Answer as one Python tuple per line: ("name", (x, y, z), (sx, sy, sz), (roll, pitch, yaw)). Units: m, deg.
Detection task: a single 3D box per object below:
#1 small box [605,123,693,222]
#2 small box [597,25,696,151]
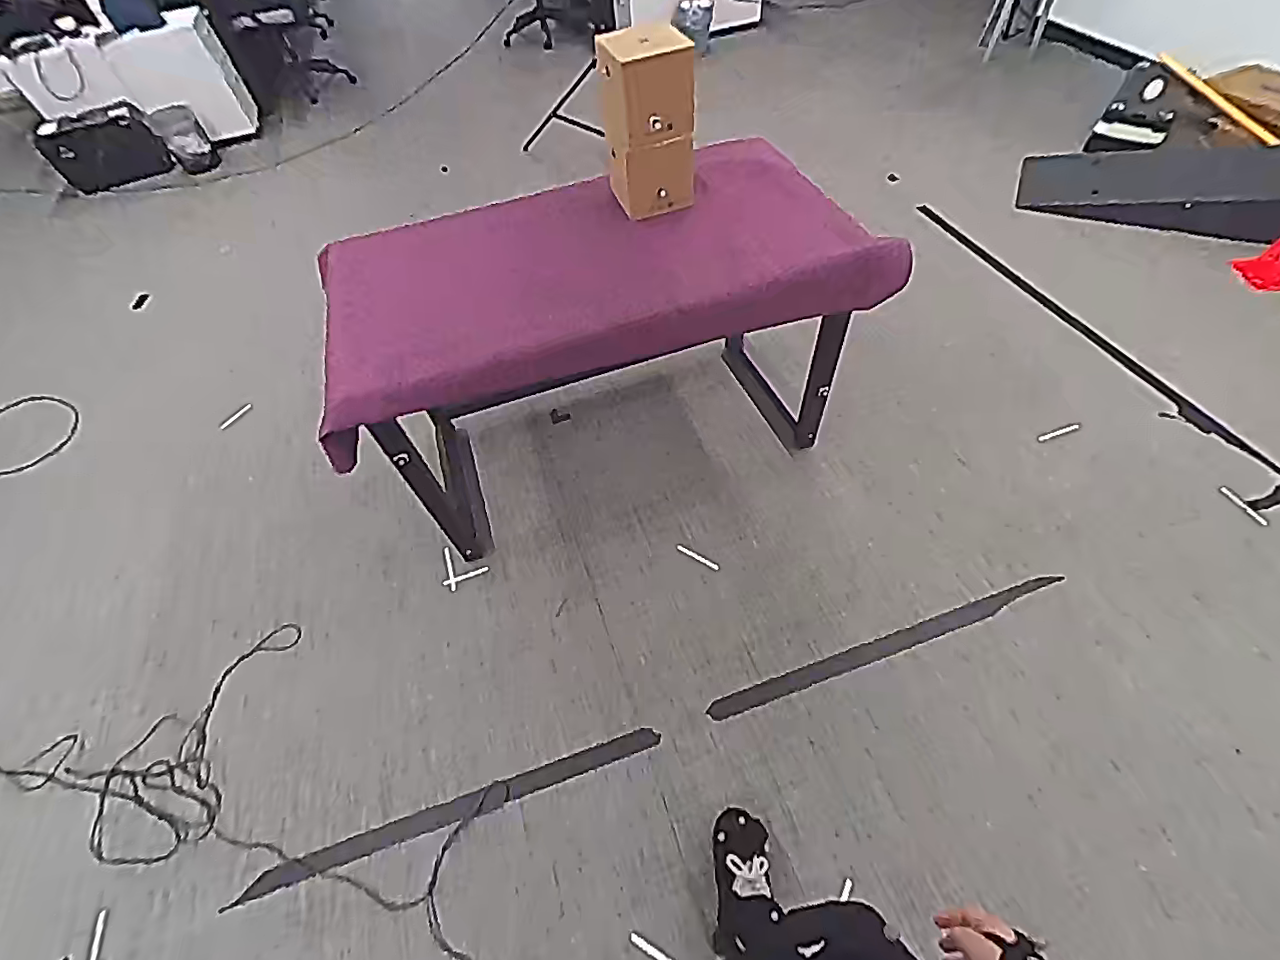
("small box", (0.022, -0.773, 1.335), (0.168, 0.176, 0.179), (-18, 57, -7))
("small box", (0.014, -0.870, 1.206), (0.168, 0.176, 0.179), (-21, 57, -8))
